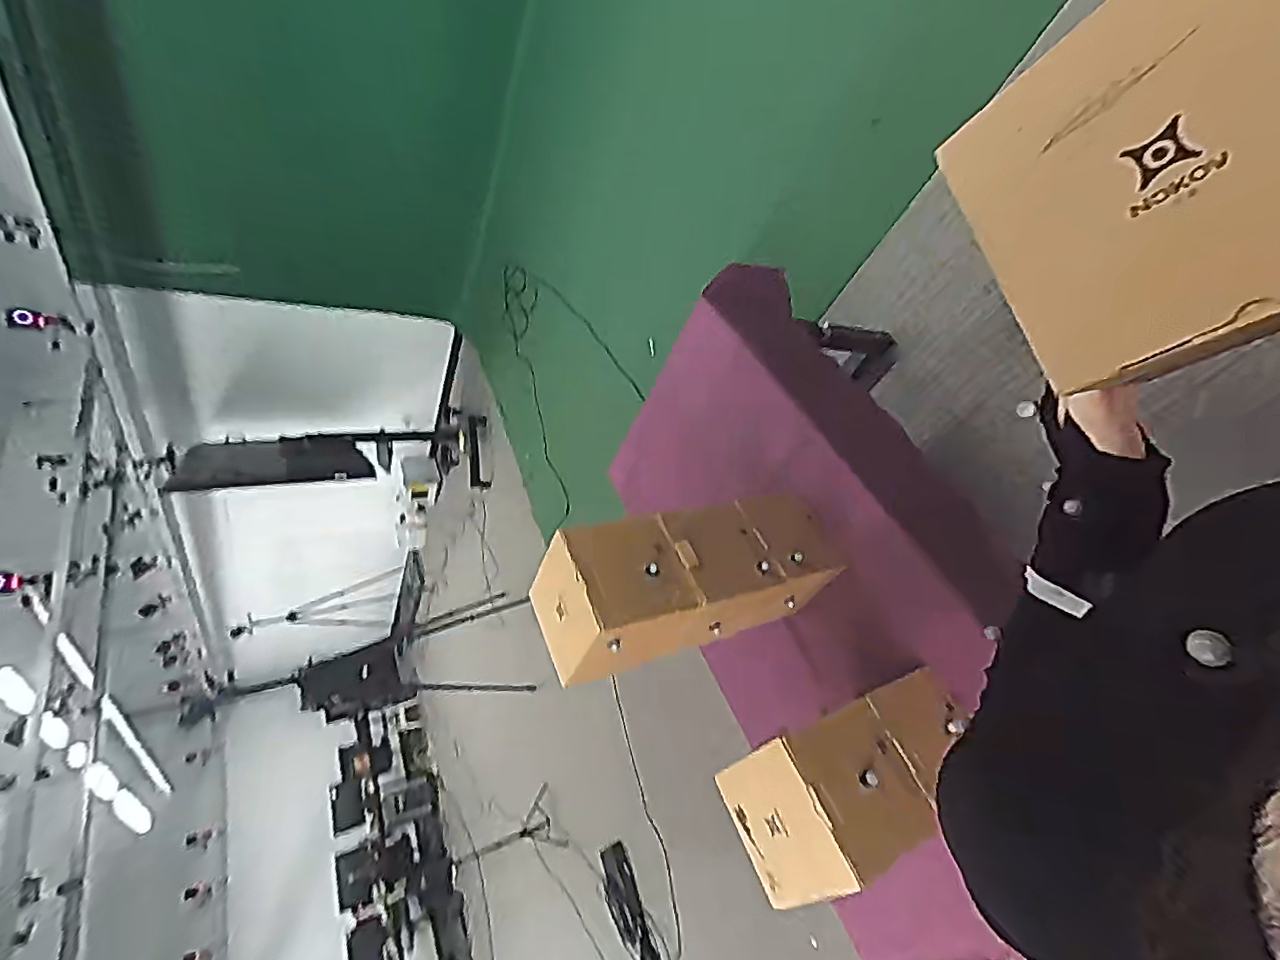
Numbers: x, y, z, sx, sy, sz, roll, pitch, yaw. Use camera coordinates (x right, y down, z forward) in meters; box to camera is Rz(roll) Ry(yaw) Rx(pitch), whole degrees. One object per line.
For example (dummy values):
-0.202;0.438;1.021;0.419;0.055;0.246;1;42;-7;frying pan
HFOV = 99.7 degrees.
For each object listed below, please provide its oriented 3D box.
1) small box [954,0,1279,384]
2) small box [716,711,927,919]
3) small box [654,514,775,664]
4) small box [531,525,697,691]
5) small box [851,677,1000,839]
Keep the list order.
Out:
0.325;-0.171;0.302;0.168;0.176;0.179;-31;73;54;small box
0.239;0.429;0.709;0.179;0.176;0.168;-58;47;40;small box
0.097;0.173;0.895;0.168;0.176;0.179;61;140;32;small box
-0.043;0.187;0.811;0.168;0.176;0.179;60;138;33;small box
0.376;0.418;0.799;0.168;0.176;0.179;62;139;31;small box
